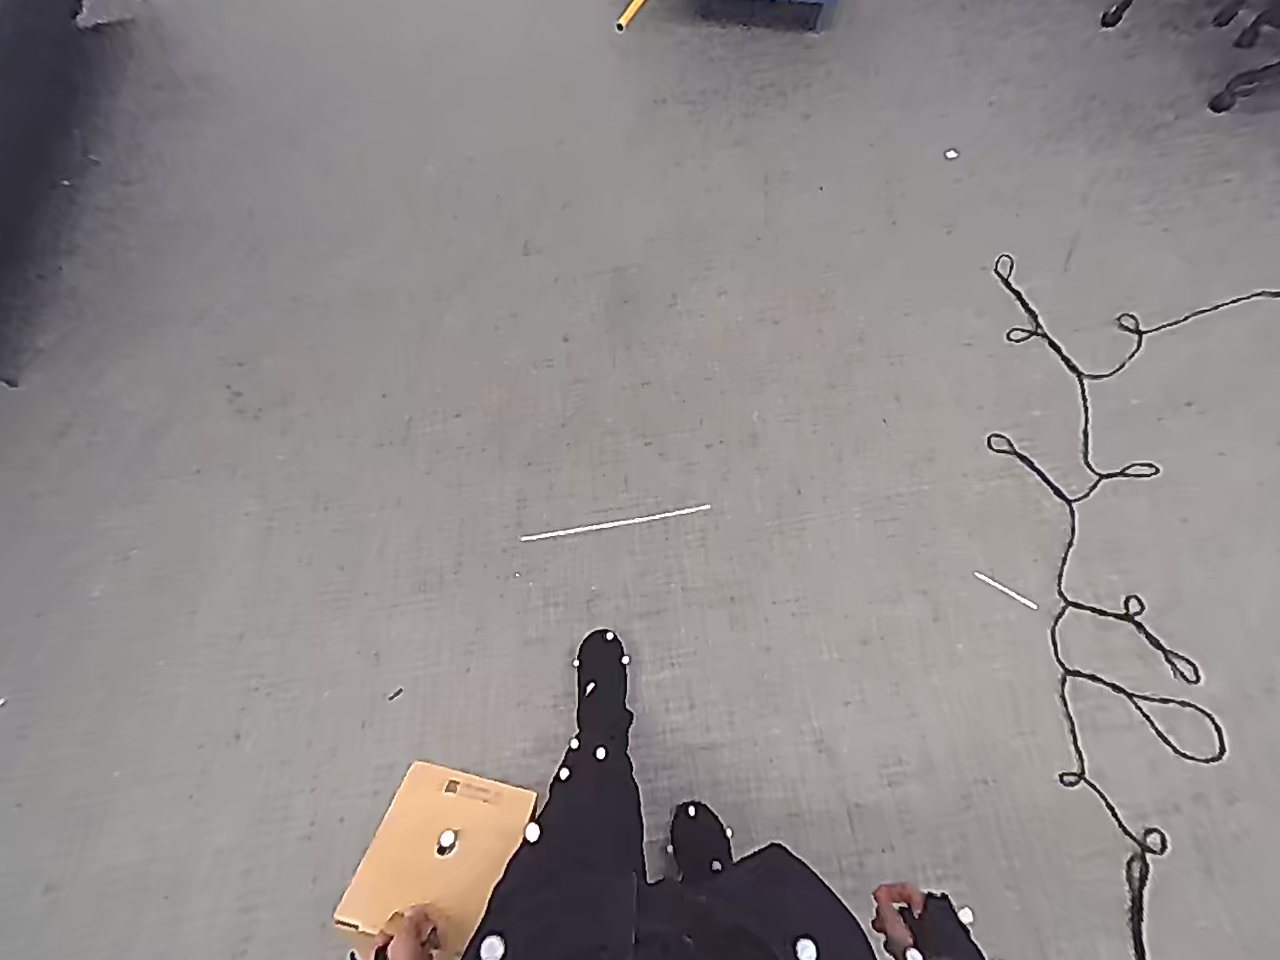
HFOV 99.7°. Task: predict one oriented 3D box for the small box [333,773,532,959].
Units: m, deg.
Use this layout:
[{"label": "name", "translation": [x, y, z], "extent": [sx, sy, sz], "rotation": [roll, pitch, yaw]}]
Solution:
[{"label": "small box", "translation": [-0.238, 0.493, 0.664], "extent": [0.168, 0.179, 0.176], "rotation": [14, 36, 2]}]
